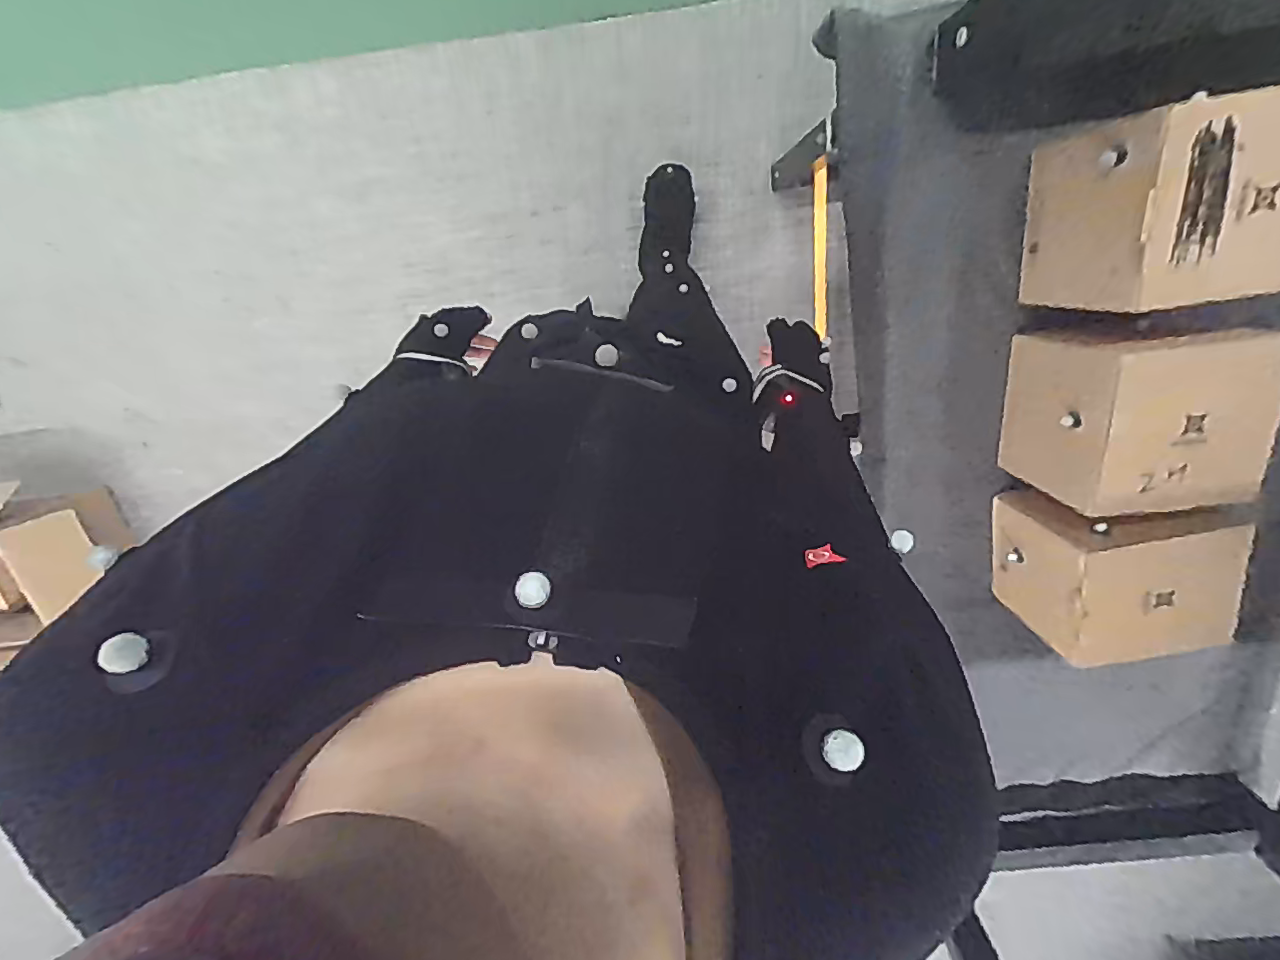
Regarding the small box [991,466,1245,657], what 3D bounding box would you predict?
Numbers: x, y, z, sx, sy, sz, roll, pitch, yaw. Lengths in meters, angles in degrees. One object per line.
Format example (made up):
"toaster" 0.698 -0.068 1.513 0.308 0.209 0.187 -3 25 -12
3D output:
"small box" 0.592 0.095 0.698 0.179 0.176 0.168 -12 110 6
